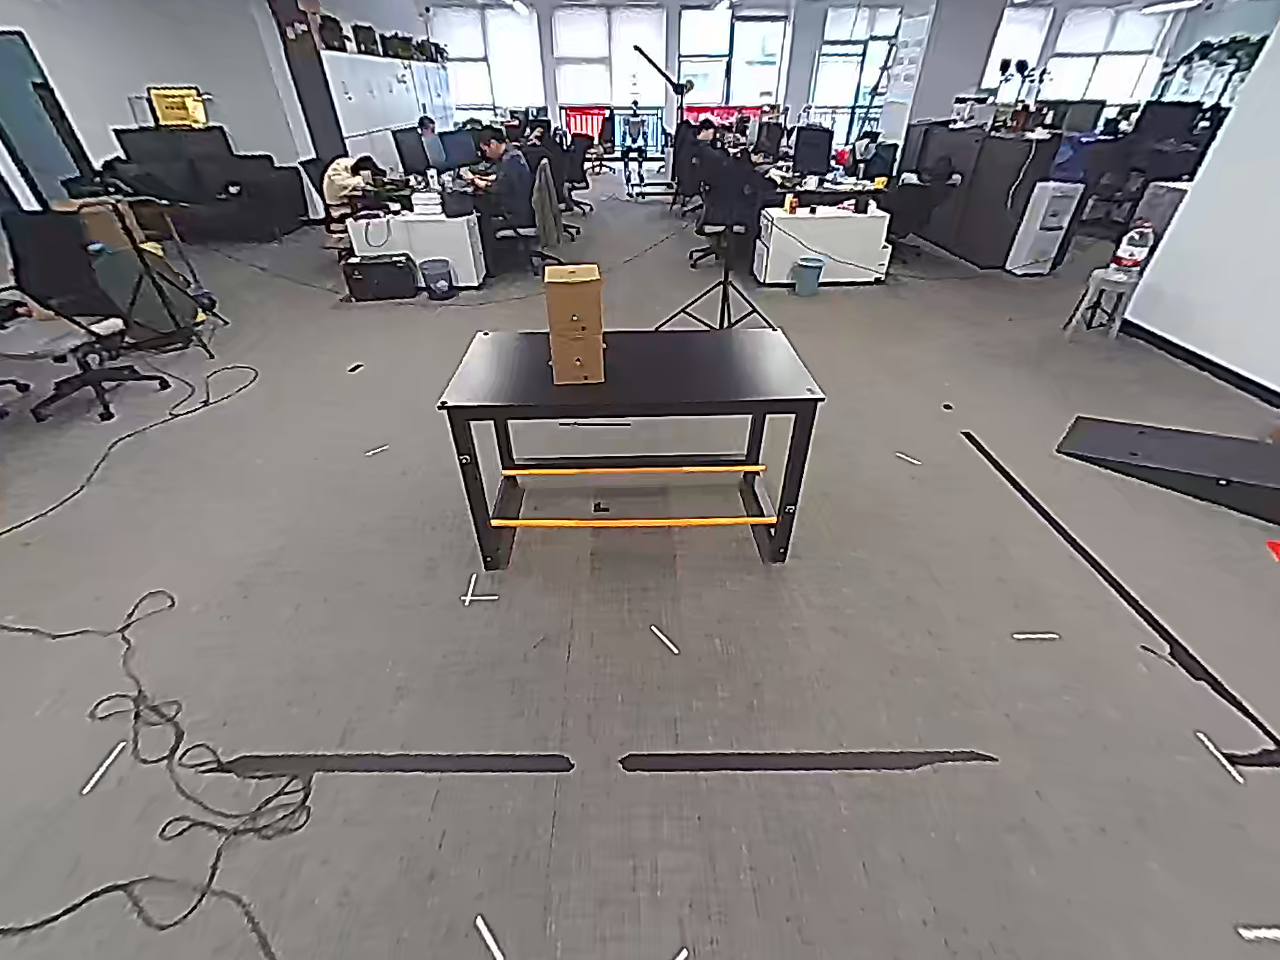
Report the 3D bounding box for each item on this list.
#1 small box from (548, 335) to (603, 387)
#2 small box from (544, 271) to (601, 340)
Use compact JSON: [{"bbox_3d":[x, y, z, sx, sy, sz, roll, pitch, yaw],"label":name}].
[{"bbox_3d":[-0.213,-0.420,1.817,0.168,0.176,0.179,-4,36,-4],"label":"small box"},{"bbox_3d":[-0.215,-0.557,1.723,0.168,0.176,0.179,-5,36,-5],"label":"small box"}]
